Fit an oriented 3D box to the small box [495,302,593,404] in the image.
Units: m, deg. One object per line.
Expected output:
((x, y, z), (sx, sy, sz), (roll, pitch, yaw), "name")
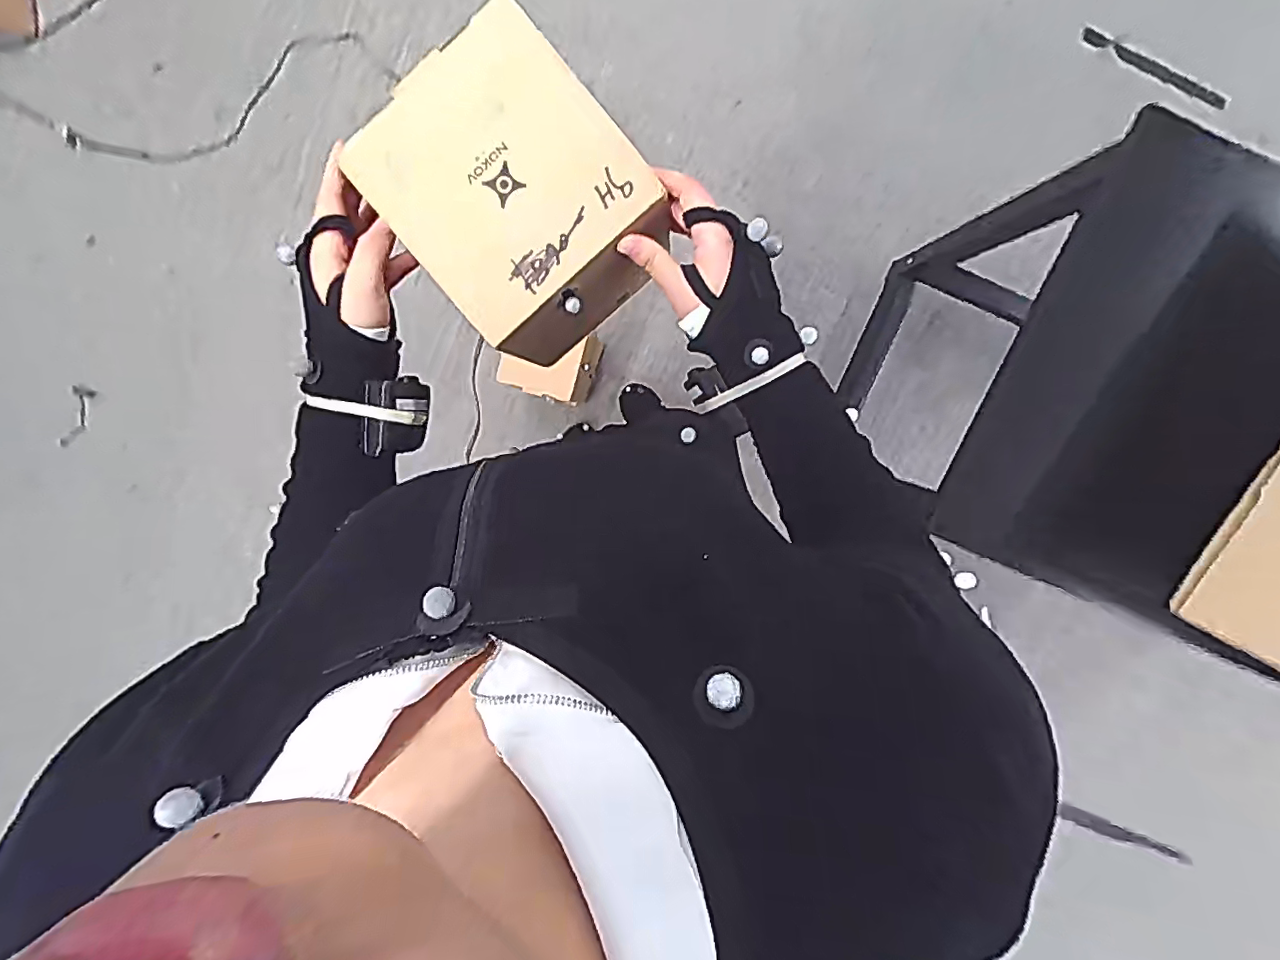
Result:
((-0.206, -0.275, 1.211), (0.168, 0.176, 0.179), (15, 97, -2), "small box")

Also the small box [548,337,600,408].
((-0.205, -0.291, 1.372), (0.168, 0.176, 0.179), (19, 99, -2), "small box")
